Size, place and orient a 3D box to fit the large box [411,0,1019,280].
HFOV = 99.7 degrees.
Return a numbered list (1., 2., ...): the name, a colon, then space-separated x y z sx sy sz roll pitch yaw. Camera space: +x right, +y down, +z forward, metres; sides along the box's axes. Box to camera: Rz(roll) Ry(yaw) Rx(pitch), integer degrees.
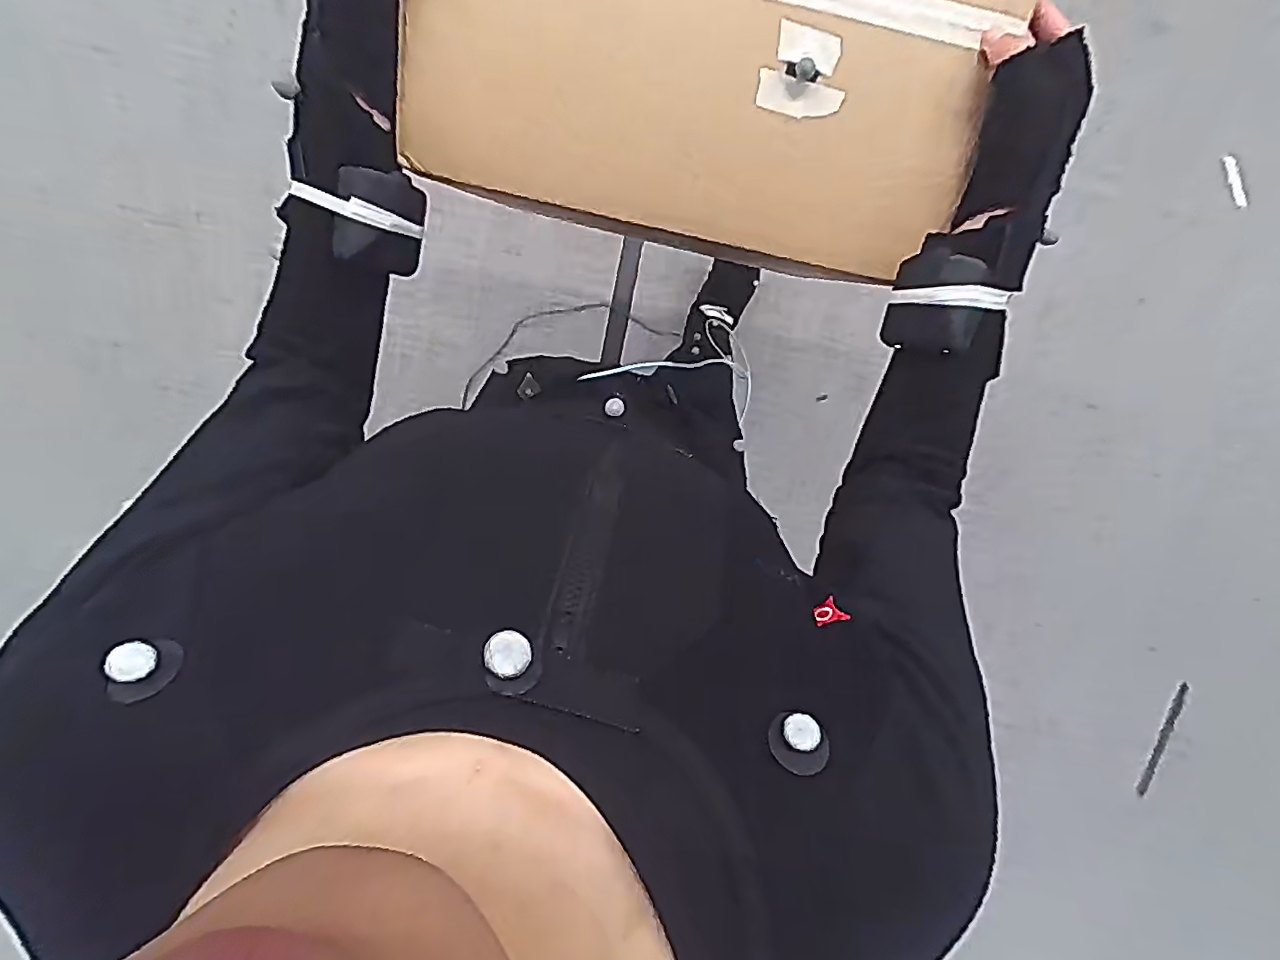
1. large box: 0.051 -0.386 0.496 0.408 0.320 0.320 11 113 -5
